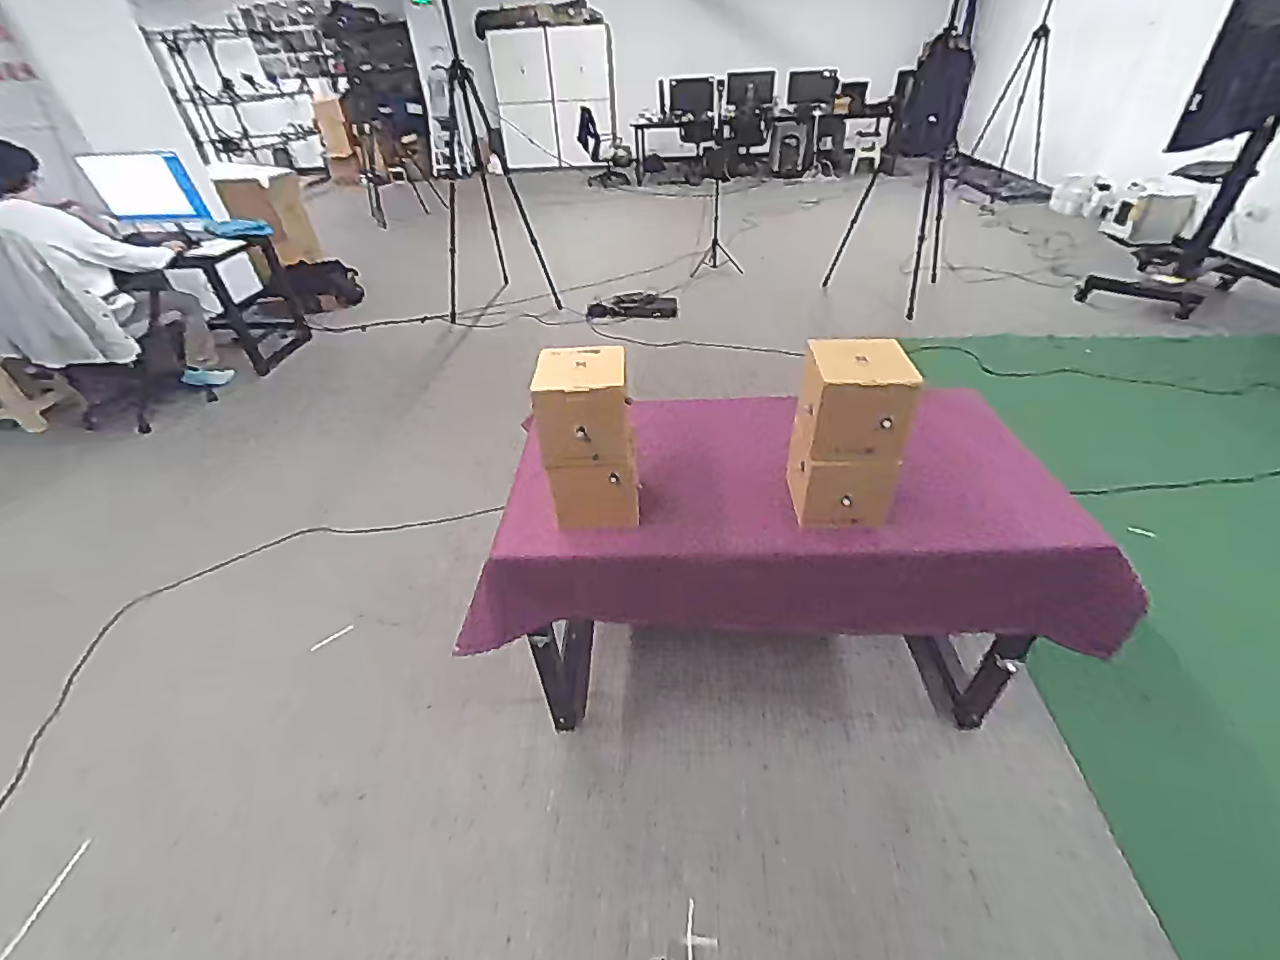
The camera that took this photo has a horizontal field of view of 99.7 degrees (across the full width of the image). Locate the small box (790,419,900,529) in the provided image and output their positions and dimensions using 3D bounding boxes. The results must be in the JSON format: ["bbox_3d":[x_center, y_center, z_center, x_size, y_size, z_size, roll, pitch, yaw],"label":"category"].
[{"bbox_3d":[0.409,-0.012,1.110,0.168,0.176,0.179,0,38,4],"label":"small box"}]

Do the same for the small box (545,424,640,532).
[{"bbox_3d":[-0.092,-0.003,1.149,0.179,0.176,0.168,-2,37,2],"label":"small box"}]

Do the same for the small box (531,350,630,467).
[{"bbox_3d":[-0.106,-0.135,1.052,0.168,0.176,0.179,-2,38,1],"label":"small box"}]

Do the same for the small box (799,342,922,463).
[{"bbox_3d":[0.400,-0.144,1.013,0.168,0.176,0.179,1,37,6],"label":"small box"}]
